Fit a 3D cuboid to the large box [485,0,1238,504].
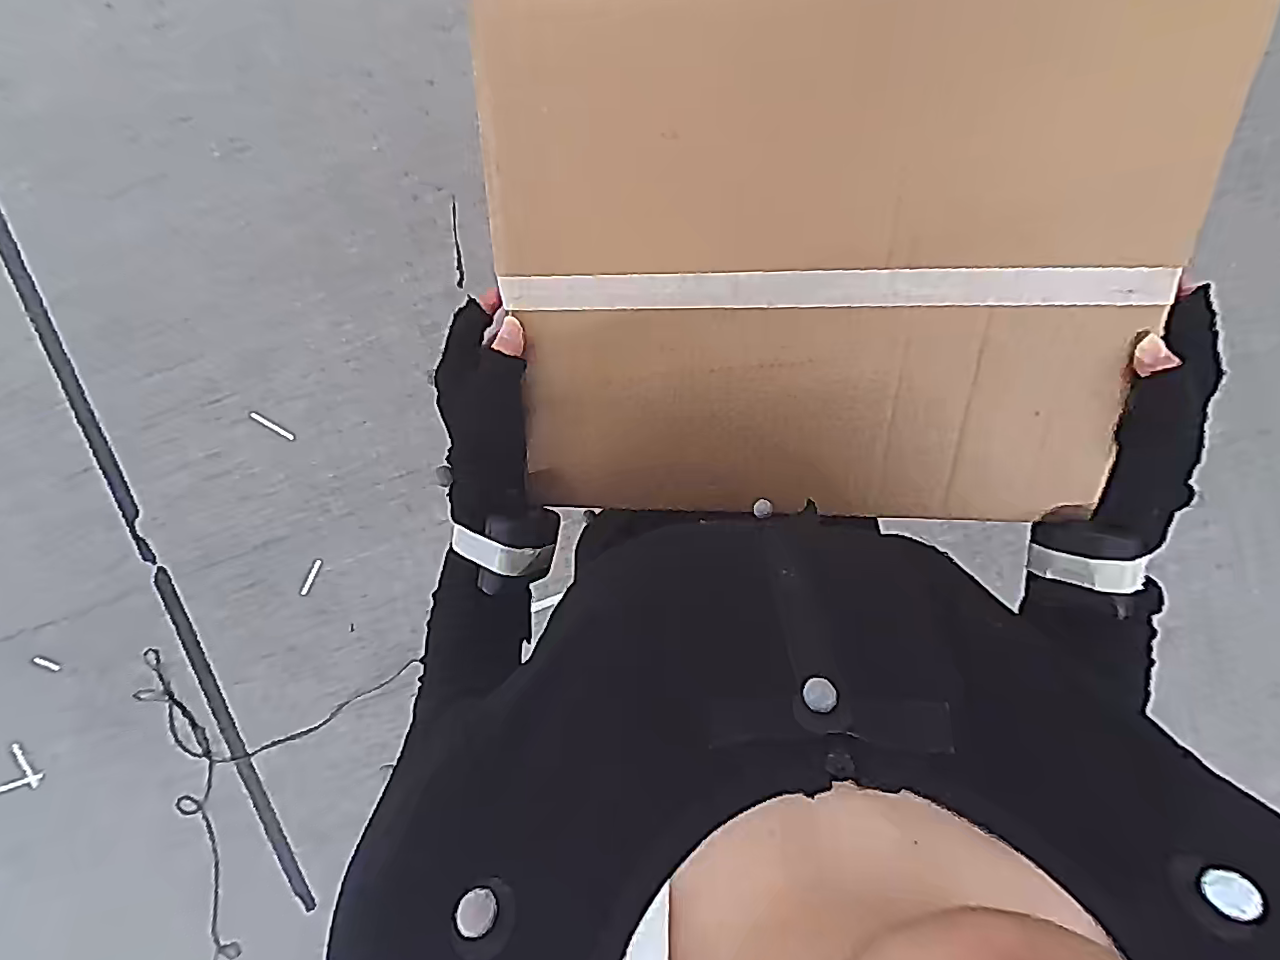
[{"bbox_3d":[0.122,-0.185,0.485,0.408,0.320,0.320,1,116,4],"label":"large box"}]
